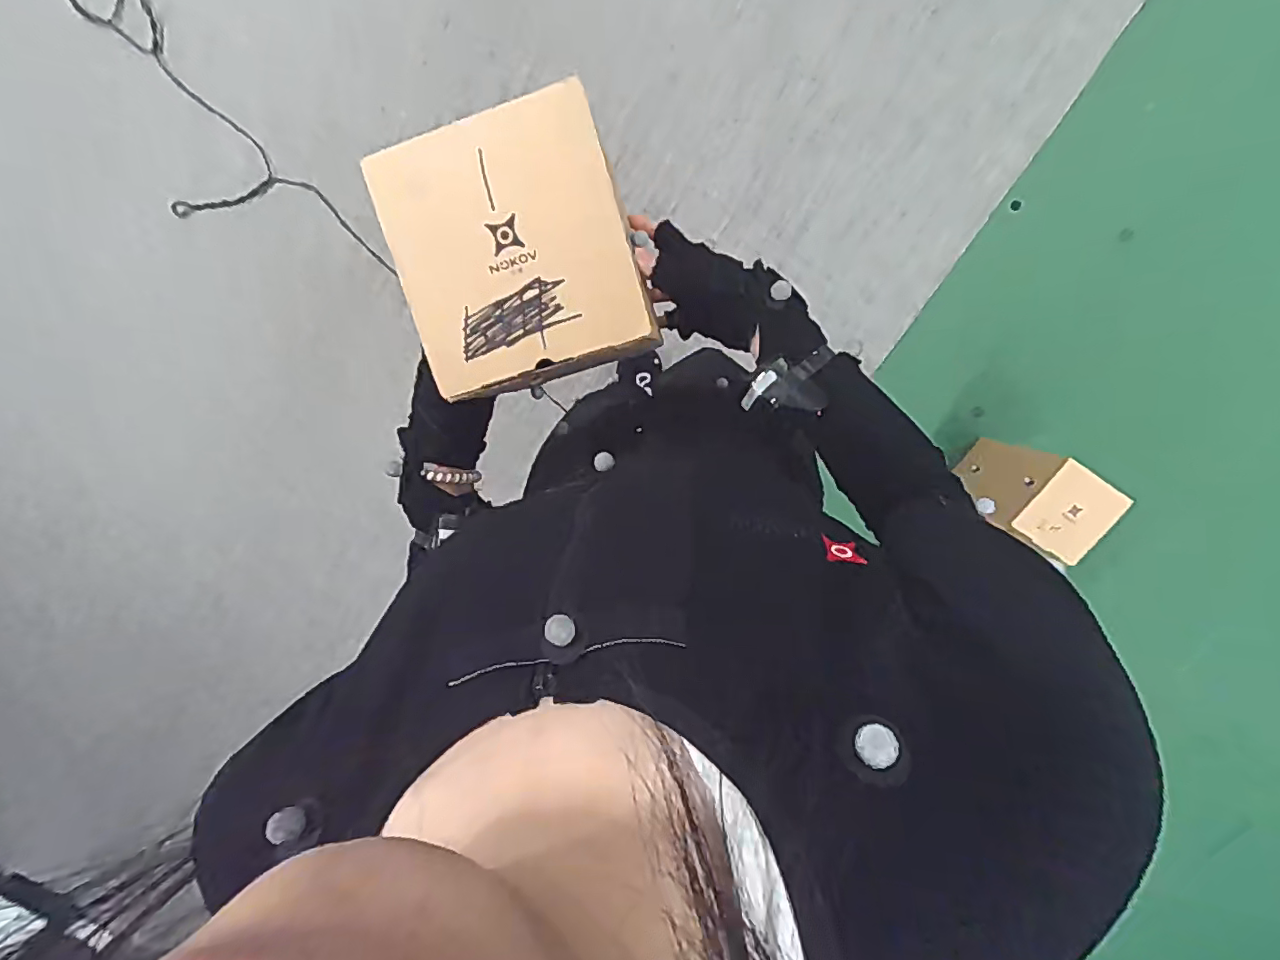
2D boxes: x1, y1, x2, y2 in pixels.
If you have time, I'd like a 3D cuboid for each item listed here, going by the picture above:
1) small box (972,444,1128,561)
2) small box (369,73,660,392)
[{"bbox_3d":[0.883,0.040,1.186,0.168,0.176,0.179,34,104,-4],"label":"small box"},{"bbox_3d":[-0.082,-0.184,0.457,0.168,0.176,0.179,-15,100,7],"label":"small box"}]
